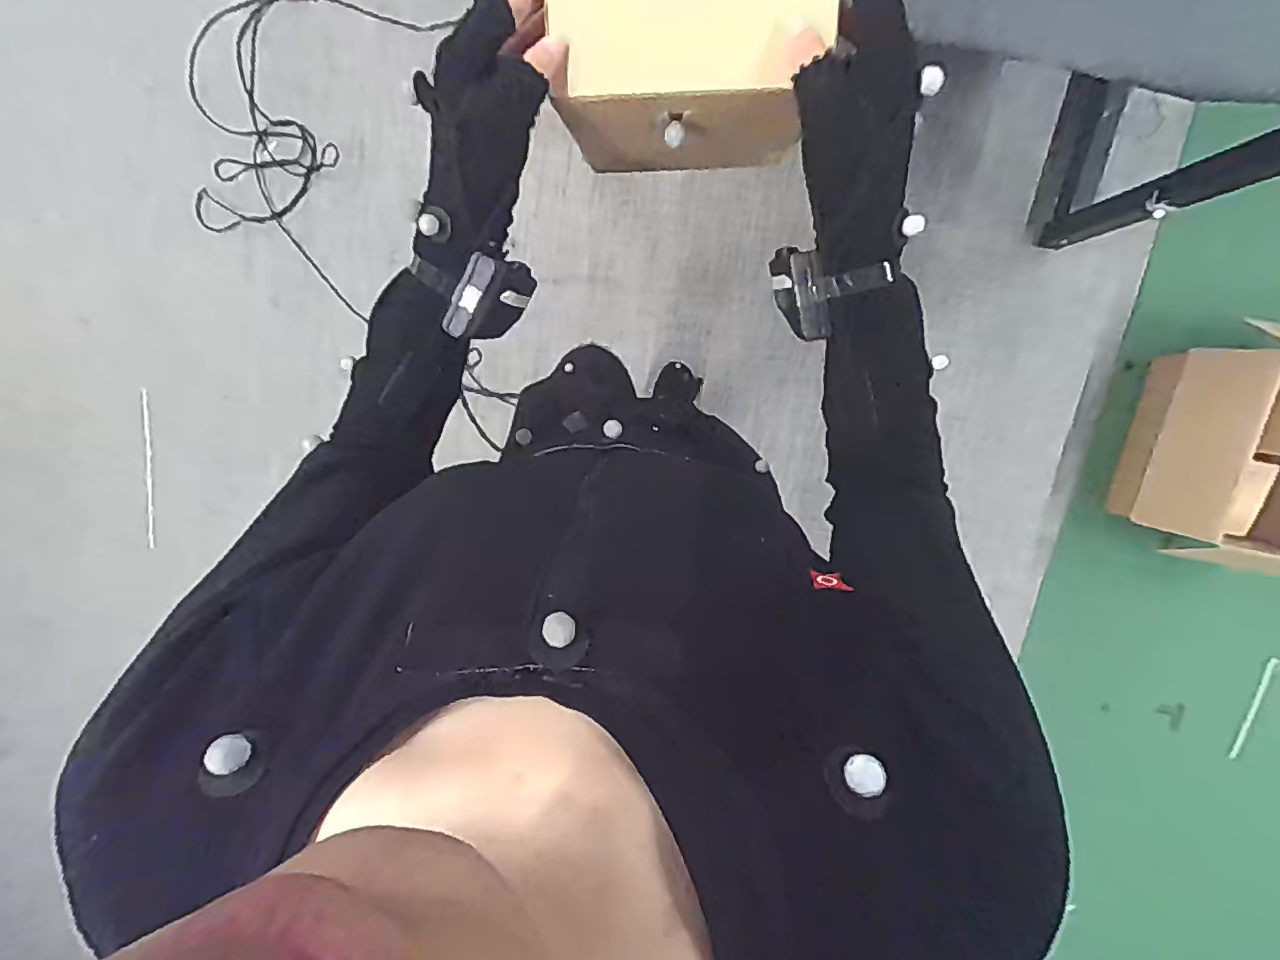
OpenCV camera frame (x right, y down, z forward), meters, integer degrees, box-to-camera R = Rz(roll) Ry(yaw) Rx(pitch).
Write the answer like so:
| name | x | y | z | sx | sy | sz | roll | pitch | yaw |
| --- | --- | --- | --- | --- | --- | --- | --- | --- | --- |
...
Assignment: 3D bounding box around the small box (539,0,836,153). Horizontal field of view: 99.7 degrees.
| name | x | y | z | sx | sy | sz | roll | pitch | yaw |
| --- | --- | --- | --- | --- | --- | --- | --- | --- | --- |
| small box | 0.033 | -0.345 | 0.377 | 0.179 | 0.176 | 0.168 | 1 | 106 | 6 |
